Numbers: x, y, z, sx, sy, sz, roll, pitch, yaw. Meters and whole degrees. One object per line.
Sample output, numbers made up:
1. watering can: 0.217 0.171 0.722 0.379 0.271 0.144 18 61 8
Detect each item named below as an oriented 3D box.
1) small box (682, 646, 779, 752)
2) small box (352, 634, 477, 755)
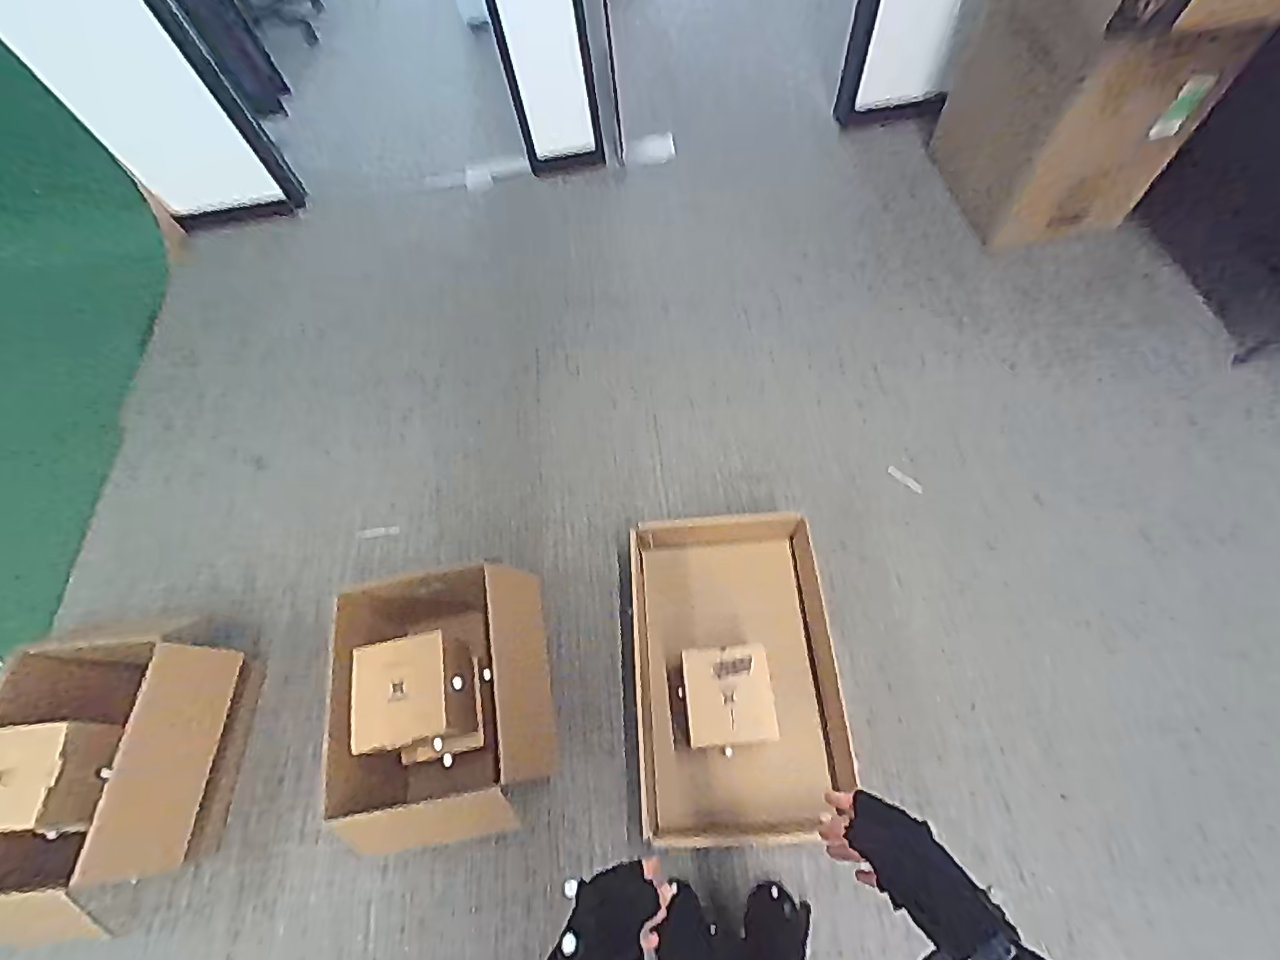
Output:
1. small box: 0.174 0.448 1.097 0.168 0.176 0.179 -5 62 2
2. small box: -0.417 0.406 1.022 0.168 0.176 0.179 -12 64 -2
